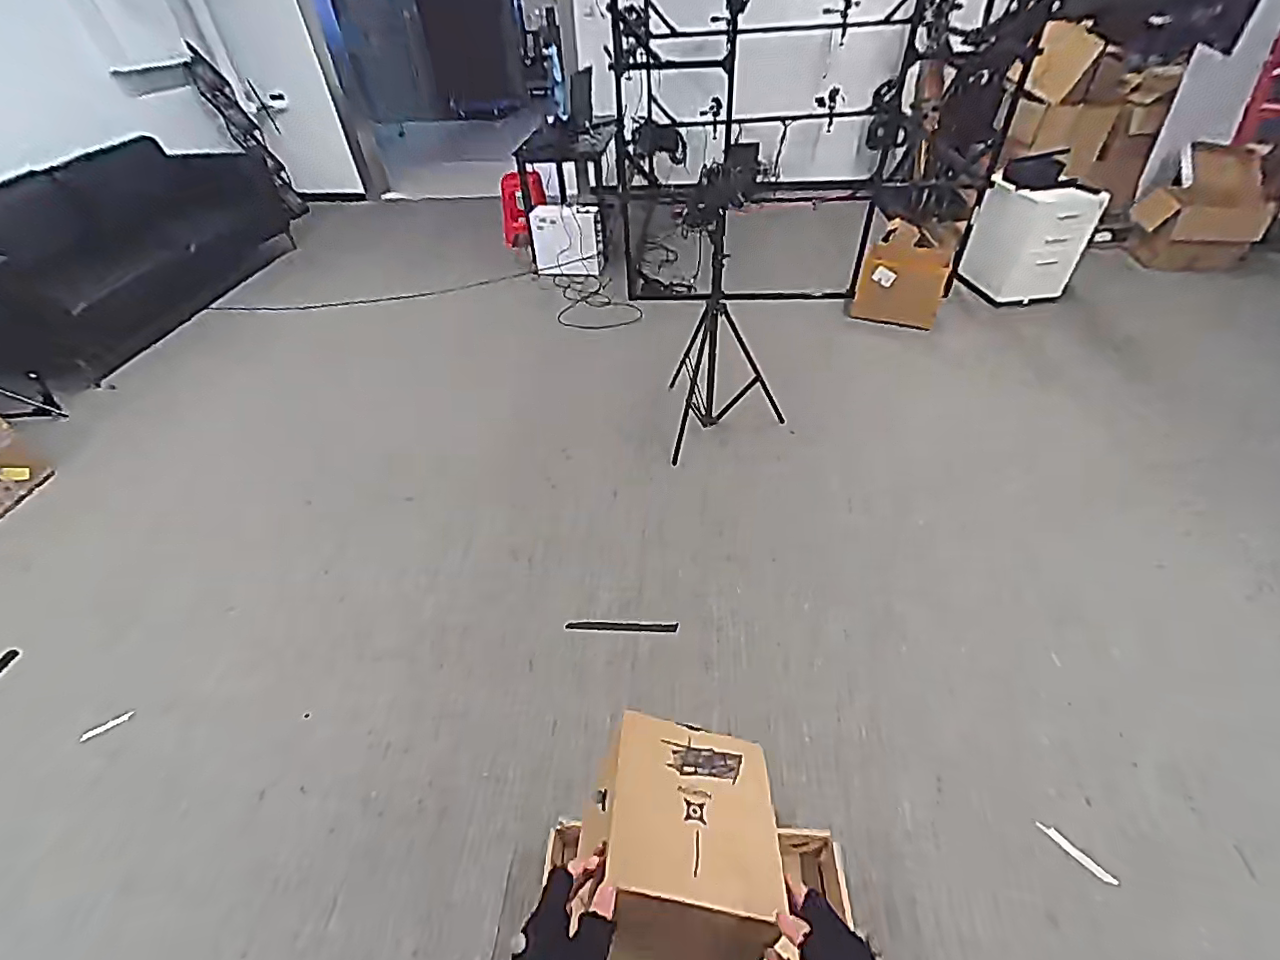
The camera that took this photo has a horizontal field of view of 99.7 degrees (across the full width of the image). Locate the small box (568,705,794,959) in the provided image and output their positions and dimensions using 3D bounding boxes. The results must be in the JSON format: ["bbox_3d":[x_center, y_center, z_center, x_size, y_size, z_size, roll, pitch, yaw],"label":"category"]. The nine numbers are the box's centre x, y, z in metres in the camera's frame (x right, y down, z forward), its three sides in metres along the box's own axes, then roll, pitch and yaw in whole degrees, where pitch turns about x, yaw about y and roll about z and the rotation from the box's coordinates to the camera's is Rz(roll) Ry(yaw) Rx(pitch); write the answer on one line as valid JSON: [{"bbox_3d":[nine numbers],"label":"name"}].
[{"bbox_3d":[0.032,0.373,0.551,0.168,0.176,0.179,16,25,-4],"label":"small box"}]
